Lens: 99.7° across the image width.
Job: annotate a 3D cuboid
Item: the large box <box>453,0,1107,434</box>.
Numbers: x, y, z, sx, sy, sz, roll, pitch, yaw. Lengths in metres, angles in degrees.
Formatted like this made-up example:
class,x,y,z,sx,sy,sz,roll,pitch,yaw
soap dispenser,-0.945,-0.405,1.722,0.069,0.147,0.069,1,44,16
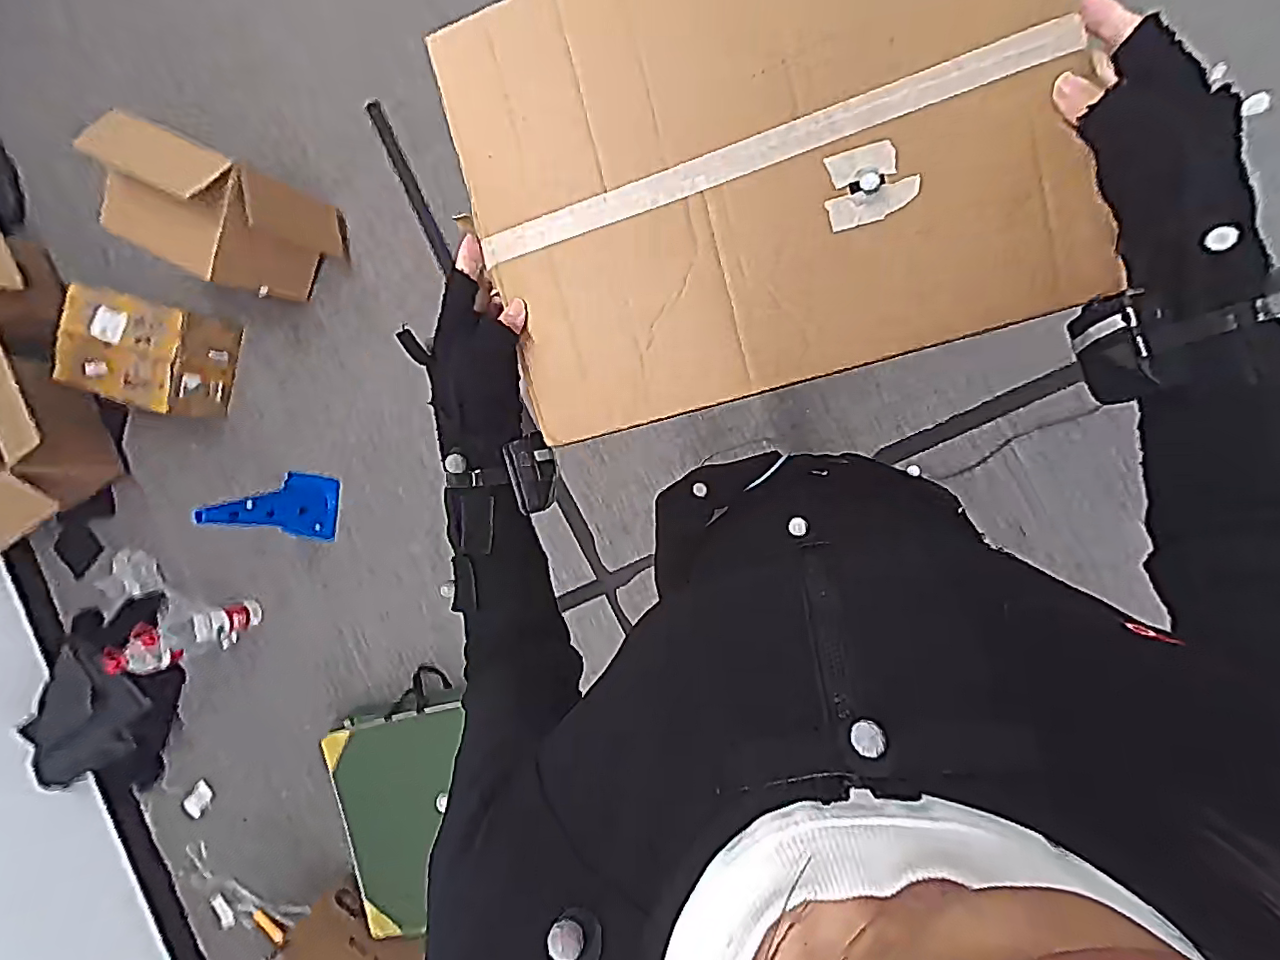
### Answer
class,x,y,z,sx,sy,sz,roll,pitch,yaw
large box,0.107,-0.252,0.527,0.408,0.320,0.320,-14,97,11
